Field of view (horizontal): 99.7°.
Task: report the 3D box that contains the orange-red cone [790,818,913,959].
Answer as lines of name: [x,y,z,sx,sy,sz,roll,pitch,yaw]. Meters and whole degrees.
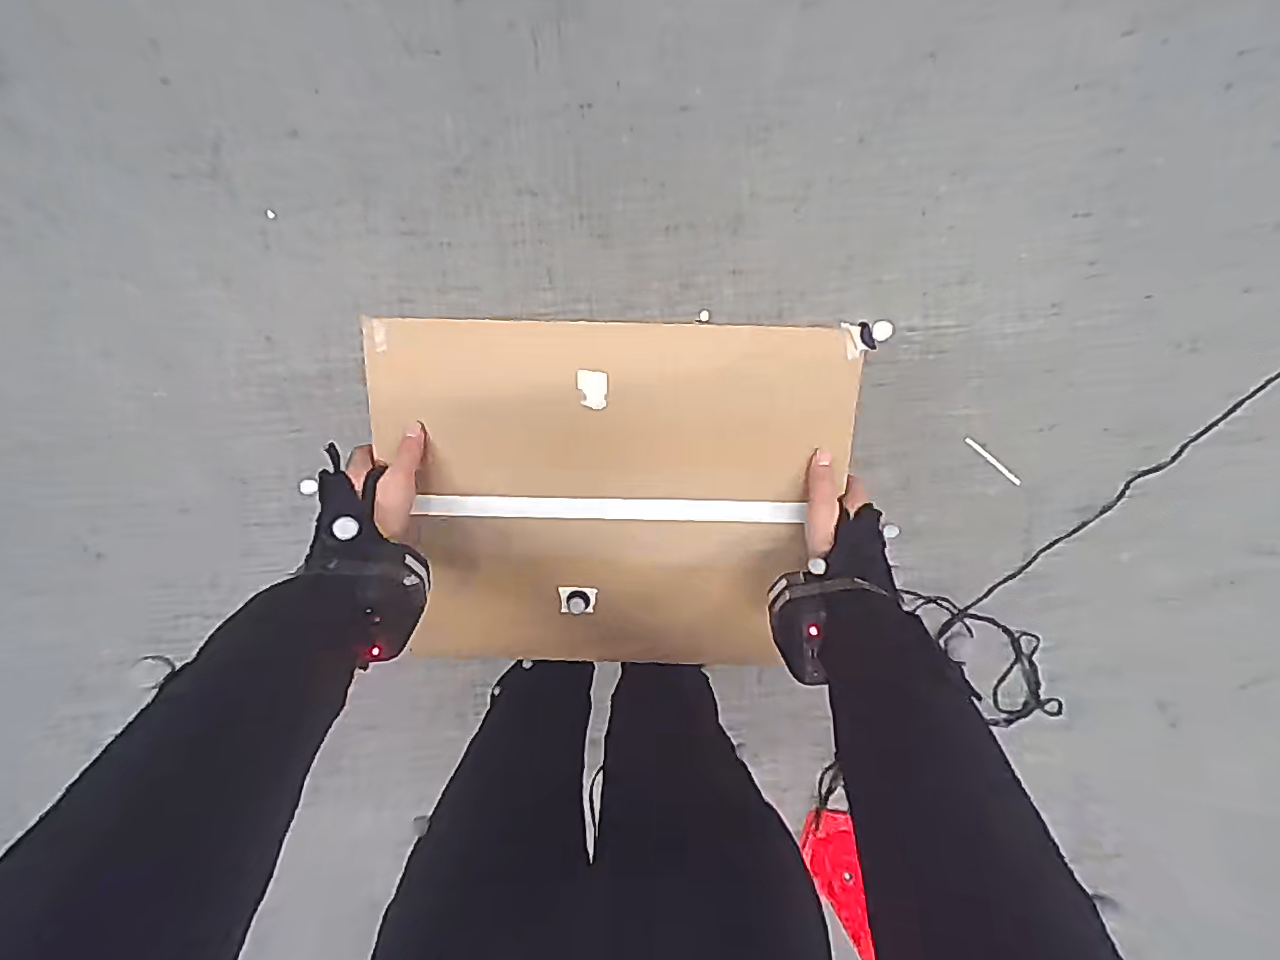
orange-red cone: [0.428,0.824,0.950,0.199,0.360,0.198,15,97,-2]
